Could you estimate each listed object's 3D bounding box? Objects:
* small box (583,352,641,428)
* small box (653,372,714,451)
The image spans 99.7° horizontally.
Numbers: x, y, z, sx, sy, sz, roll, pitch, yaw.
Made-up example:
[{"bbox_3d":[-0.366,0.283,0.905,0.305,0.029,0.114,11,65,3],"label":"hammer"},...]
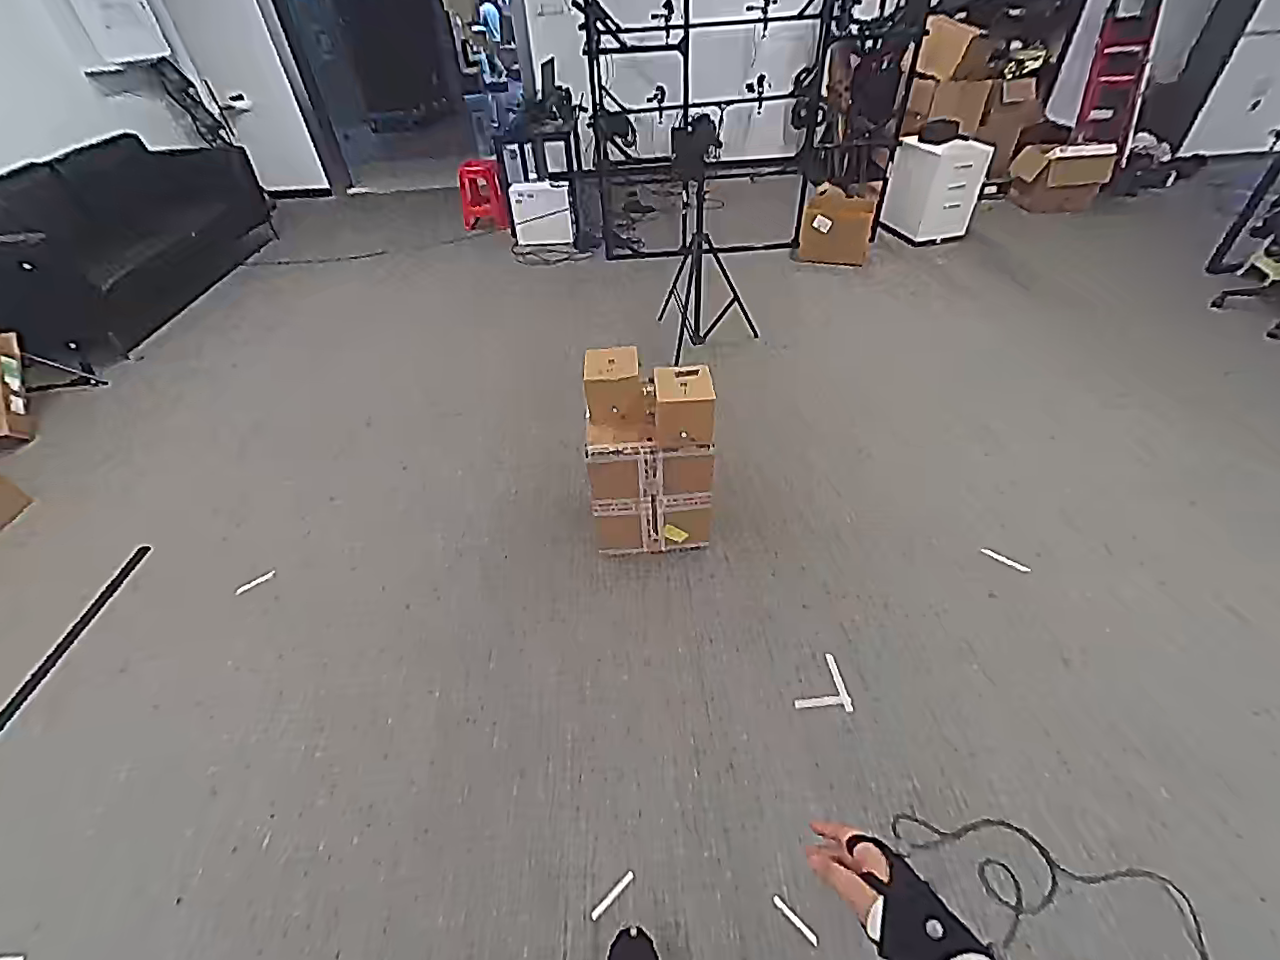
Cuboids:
[{"bbox_3d":[-0.086,-0.285,1.716,0.168,0.176,0.179,-5,44,1],"label":"small box"},{"bbox_3d":[0.124,-0.206,1.622,0.168,0.176,0.179,-3,45,-1],"label":"small box"}]
